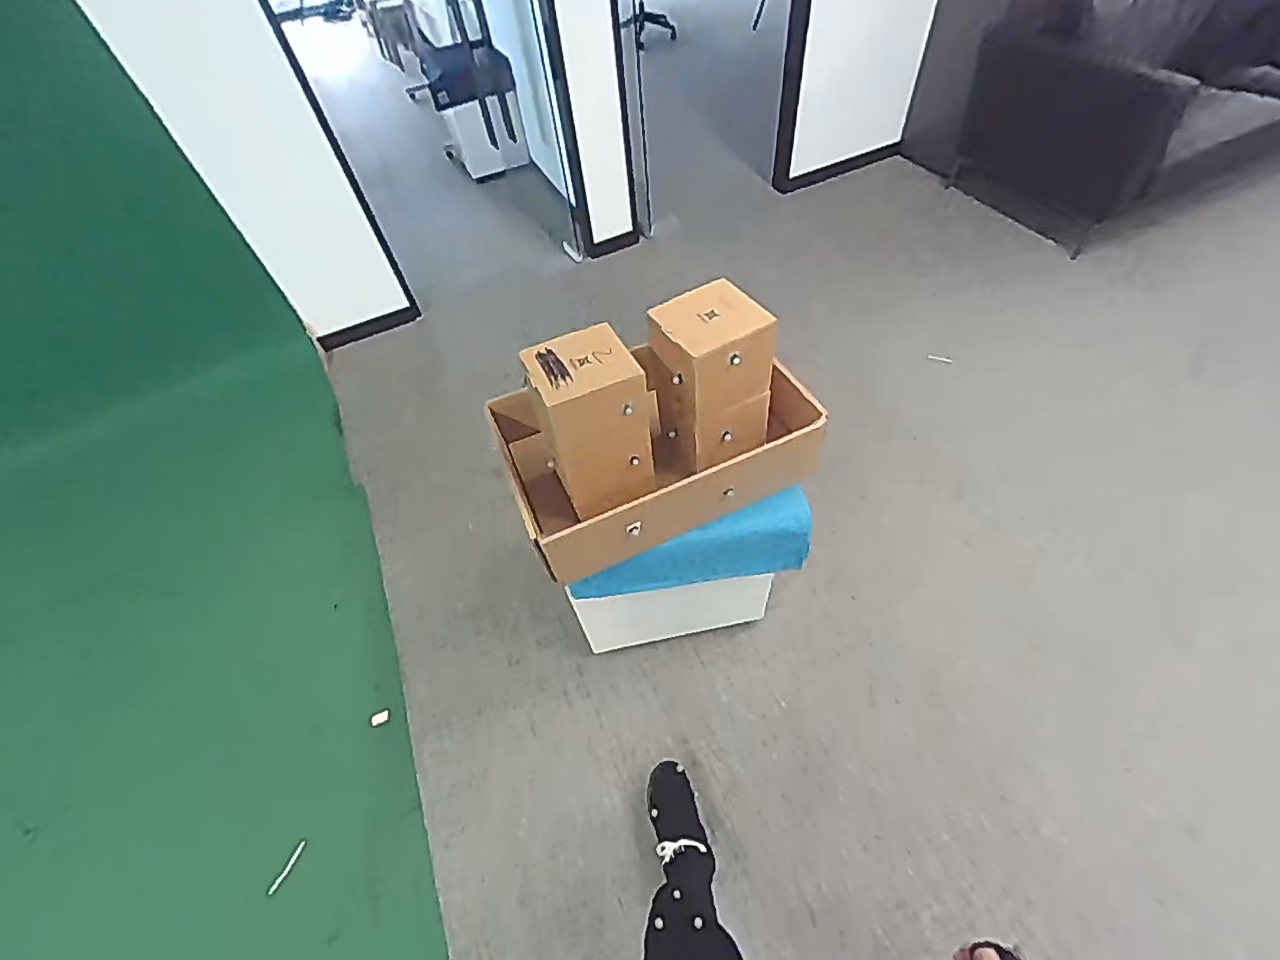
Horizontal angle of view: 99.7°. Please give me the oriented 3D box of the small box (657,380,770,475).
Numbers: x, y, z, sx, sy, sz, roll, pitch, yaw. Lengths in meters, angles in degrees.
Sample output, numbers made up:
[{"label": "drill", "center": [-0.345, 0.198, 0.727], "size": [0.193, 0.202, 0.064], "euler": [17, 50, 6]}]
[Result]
[{"label": "small box", "center": [0.159, -0.140, 1.152], "size": [0.179, 0.176, 0.168], "euler": [-27, 54, -10]}]

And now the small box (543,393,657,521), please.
[{"label": "small box", "center": [-0.078, -0.044, 1.114], "size": [0.179, 0.176, 0.168], "euler": [-22, 52, -12]}]

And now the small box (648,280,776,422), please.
[{"label": "small box", "center": [0.136, -0.240, 1.023], "size": [0.179, 0.176, 0.168], "euler": [-27, 54, -12]}]
